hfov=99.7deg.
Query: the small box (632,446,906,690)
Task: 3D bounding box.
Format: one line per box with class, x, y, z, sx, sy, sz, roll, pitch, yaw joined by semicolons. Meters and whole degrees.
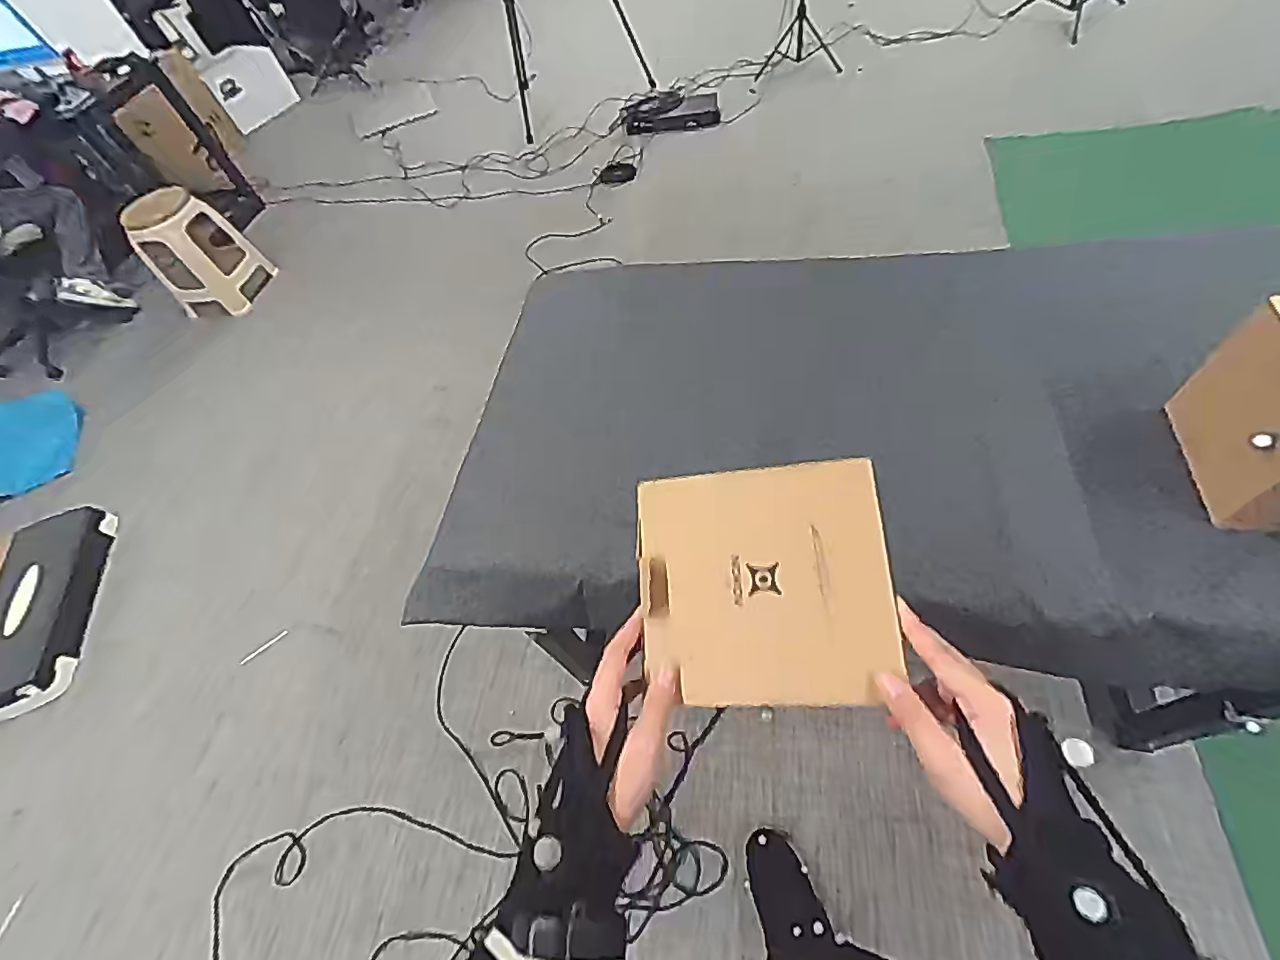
small box;0.100;0.086;0.453;0.179;0.176;0.168;-7;71;12
